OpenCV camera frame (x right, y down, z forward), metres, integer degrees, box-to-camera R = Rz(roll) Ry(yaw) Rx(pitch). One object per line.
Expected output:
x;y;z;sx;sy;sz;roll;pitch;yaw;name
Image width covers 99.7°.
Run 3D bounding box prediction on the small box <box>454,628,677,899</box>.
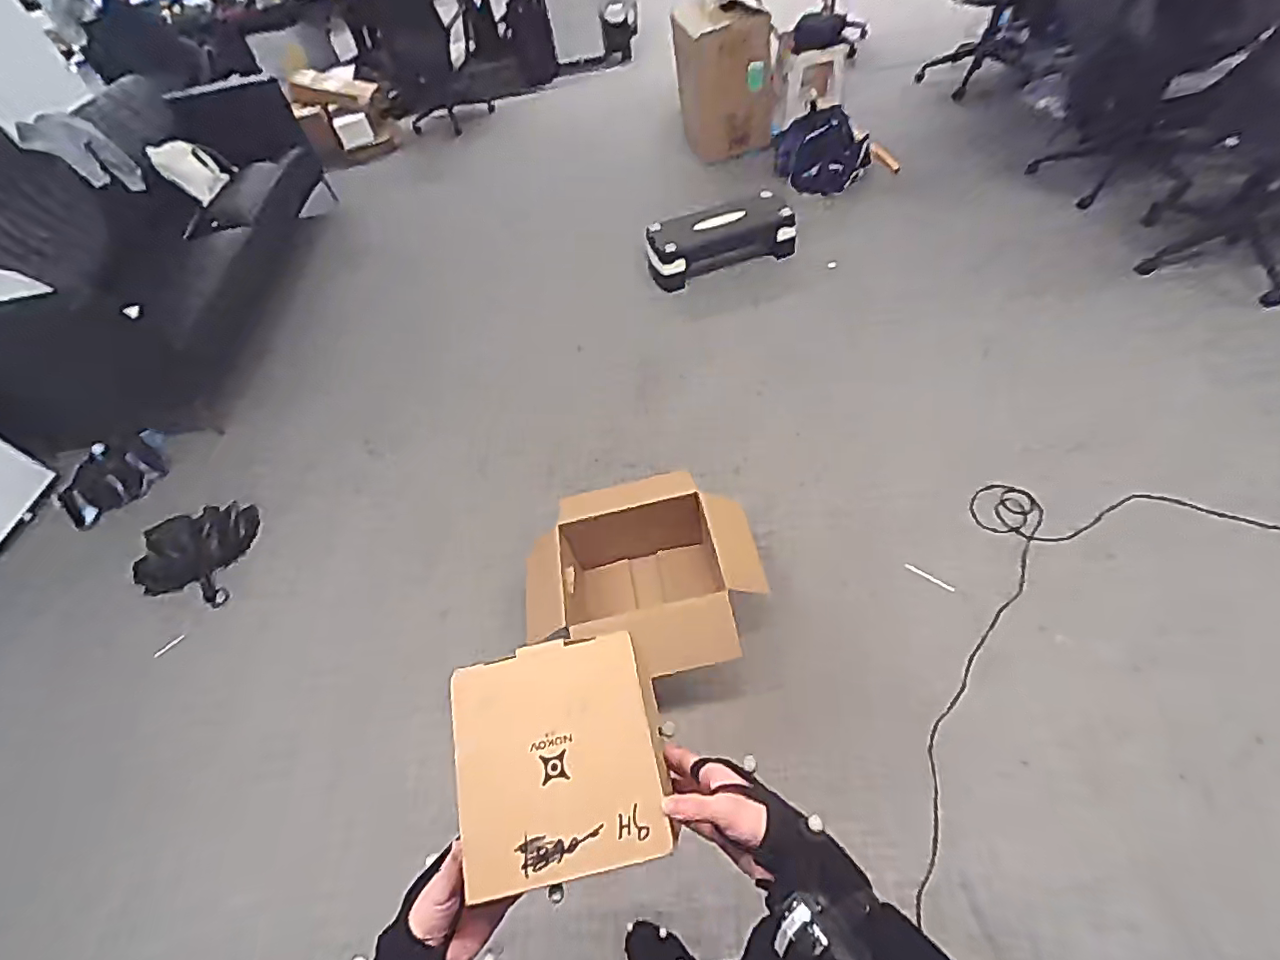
-0.063;0.261;0.520;0.168;0.176;0.179;-14;64;0;small box
